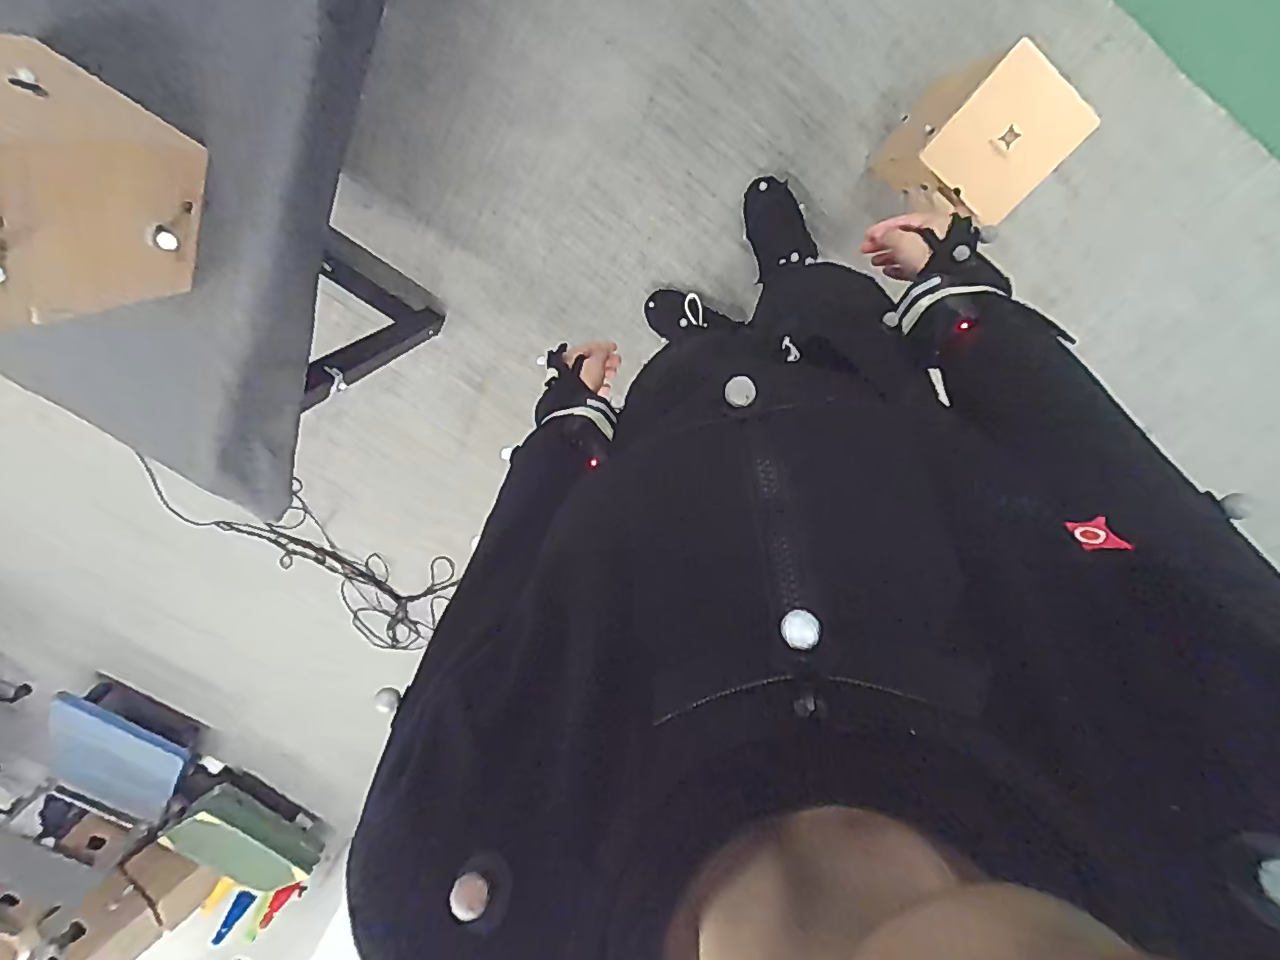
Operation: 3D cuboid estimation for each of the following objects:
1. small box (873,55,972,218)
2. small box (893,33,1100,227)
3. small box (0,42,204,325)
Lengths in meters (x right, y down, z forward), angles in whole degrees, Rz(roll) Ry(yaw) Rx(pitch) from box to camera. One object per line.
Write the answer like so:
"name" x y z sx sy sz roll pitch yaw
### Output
"small box" 0.545 -0.605 0.969 0.168 0.176 0.179 34 121 -10
"small box" 0.525 -0.523 0.828 0.168 0.176 0.179 35 119 -12
"small box" -0.558 -0.273 0.492 0.179 0.176 0.168 31 120 -10
